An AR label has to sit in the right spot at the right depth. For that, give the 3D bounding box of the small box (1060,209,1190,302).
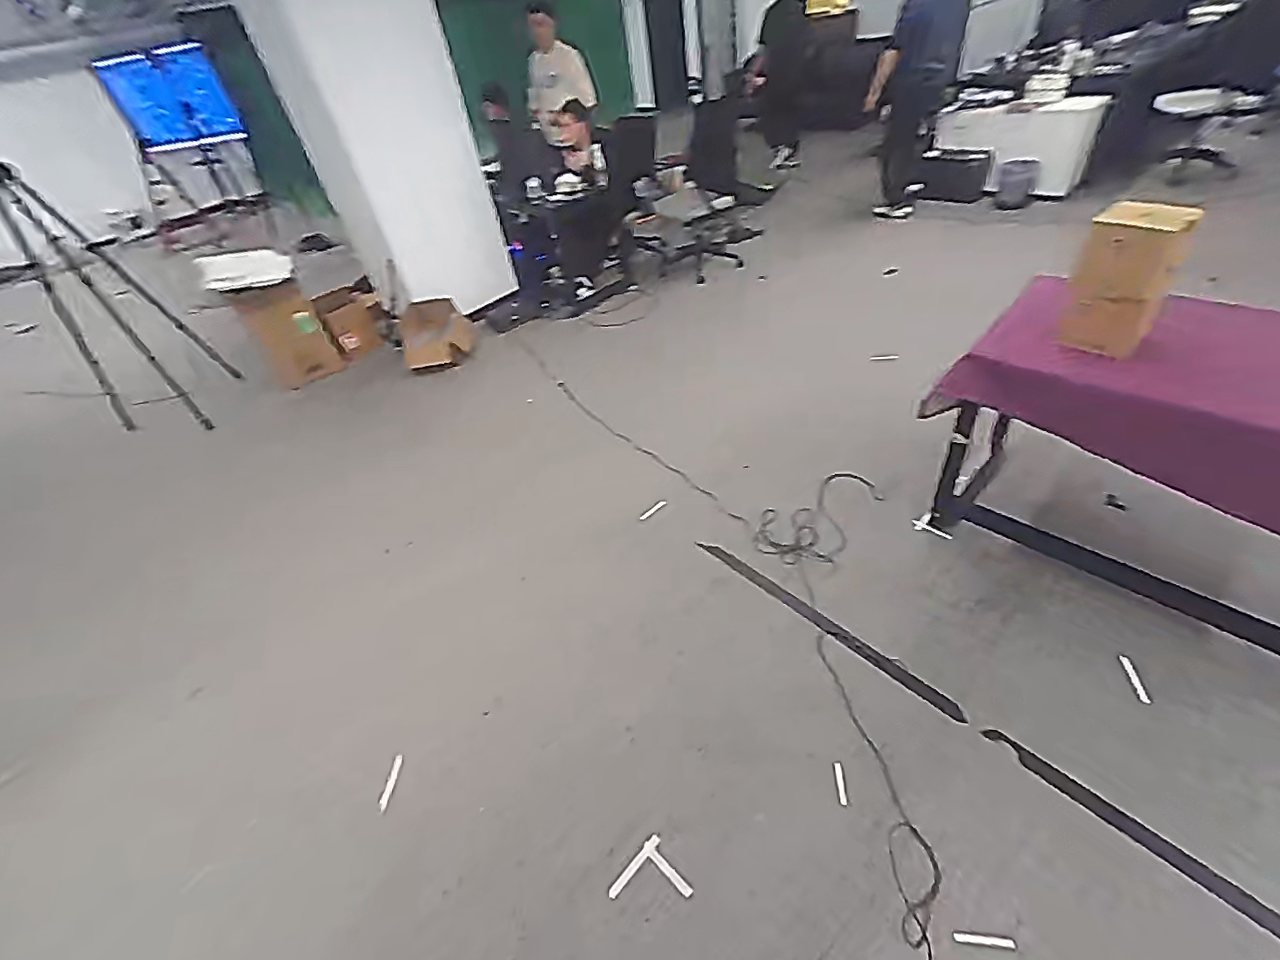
[{"bbox_3d":[1.238,-0.579,1.395,0.168,0.176,0.179,-31,45,-21],"label":"small box"}]
